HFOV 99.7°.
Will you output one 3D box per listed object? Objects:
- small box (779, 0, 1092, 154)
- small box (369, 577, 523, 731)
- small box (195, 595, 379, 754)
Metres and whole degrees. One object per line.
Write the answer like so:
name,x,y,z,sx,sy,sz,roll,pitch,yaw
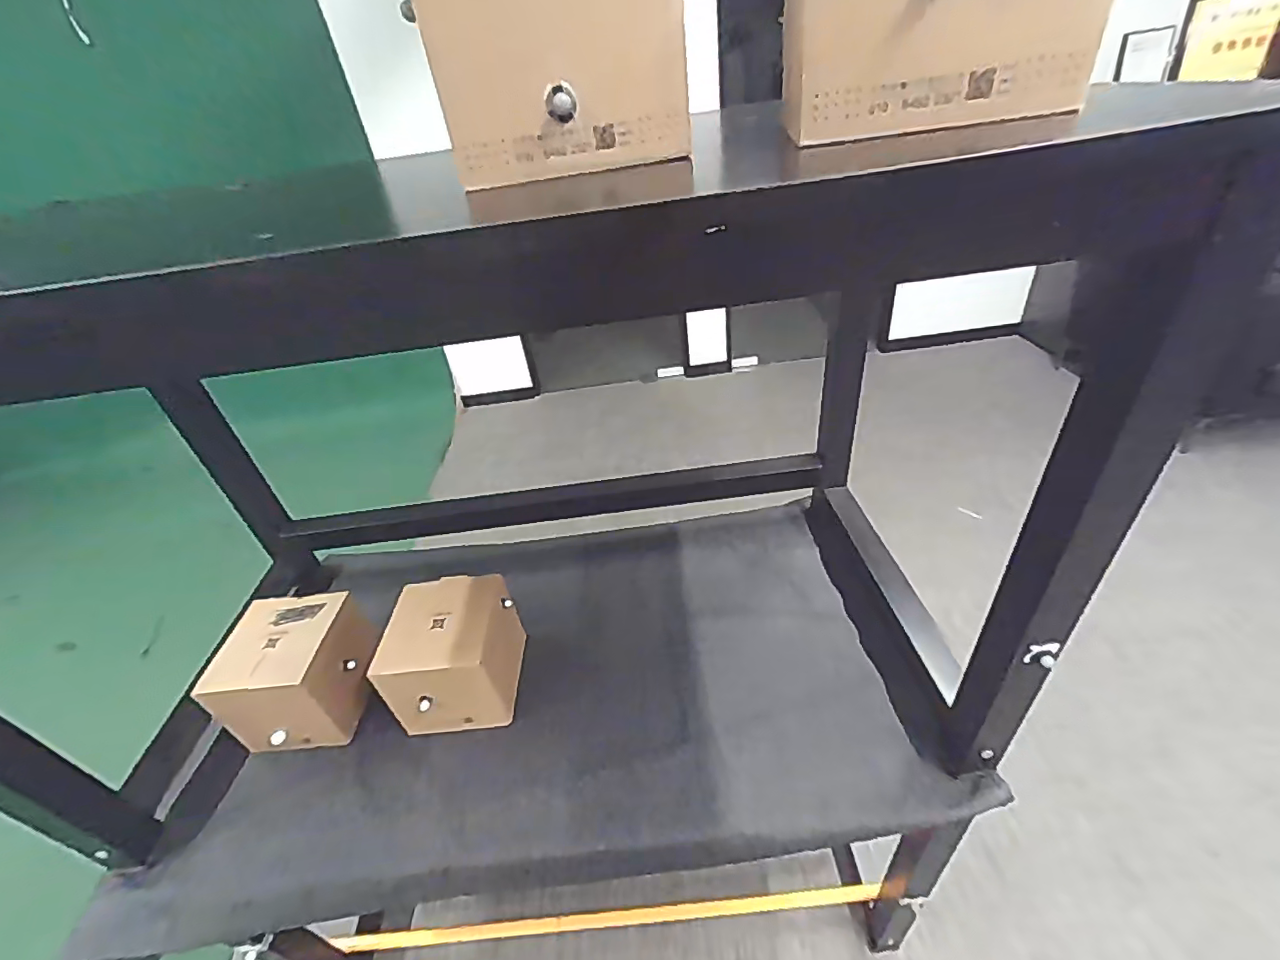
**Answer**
small box,0.183,-0.328,0.362,0.168,0.176,0.179,0,37,11
small box,-0.296,0.285,0.872,0.168,0.176,0.179,-7,36,2
small box,-0.547,0.313,0.878,0.168,0.176,0.179,-7,36,3
